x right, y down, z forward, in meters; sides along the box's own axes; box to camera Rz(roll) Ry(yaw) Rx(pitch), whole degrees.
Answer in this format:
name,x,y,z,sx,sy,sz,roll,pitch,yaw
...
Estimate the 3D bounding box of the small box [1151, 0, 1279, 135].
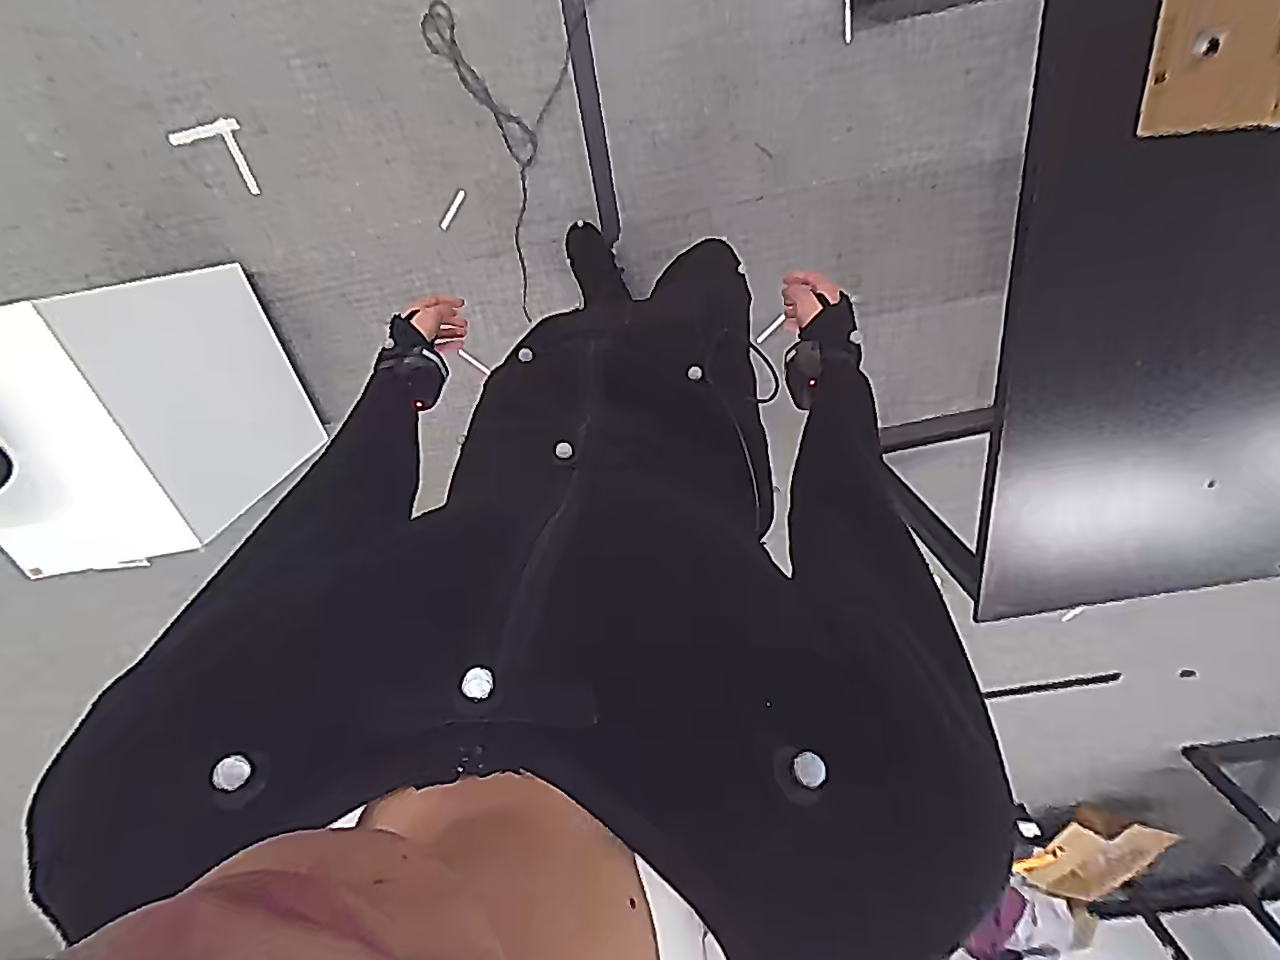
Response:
name,x,y,z,sx,sy,sz,roll,pitch,yaw
small box,0.714,-0.486,0.577,0.179,0.176,0.168,-11,118,5
